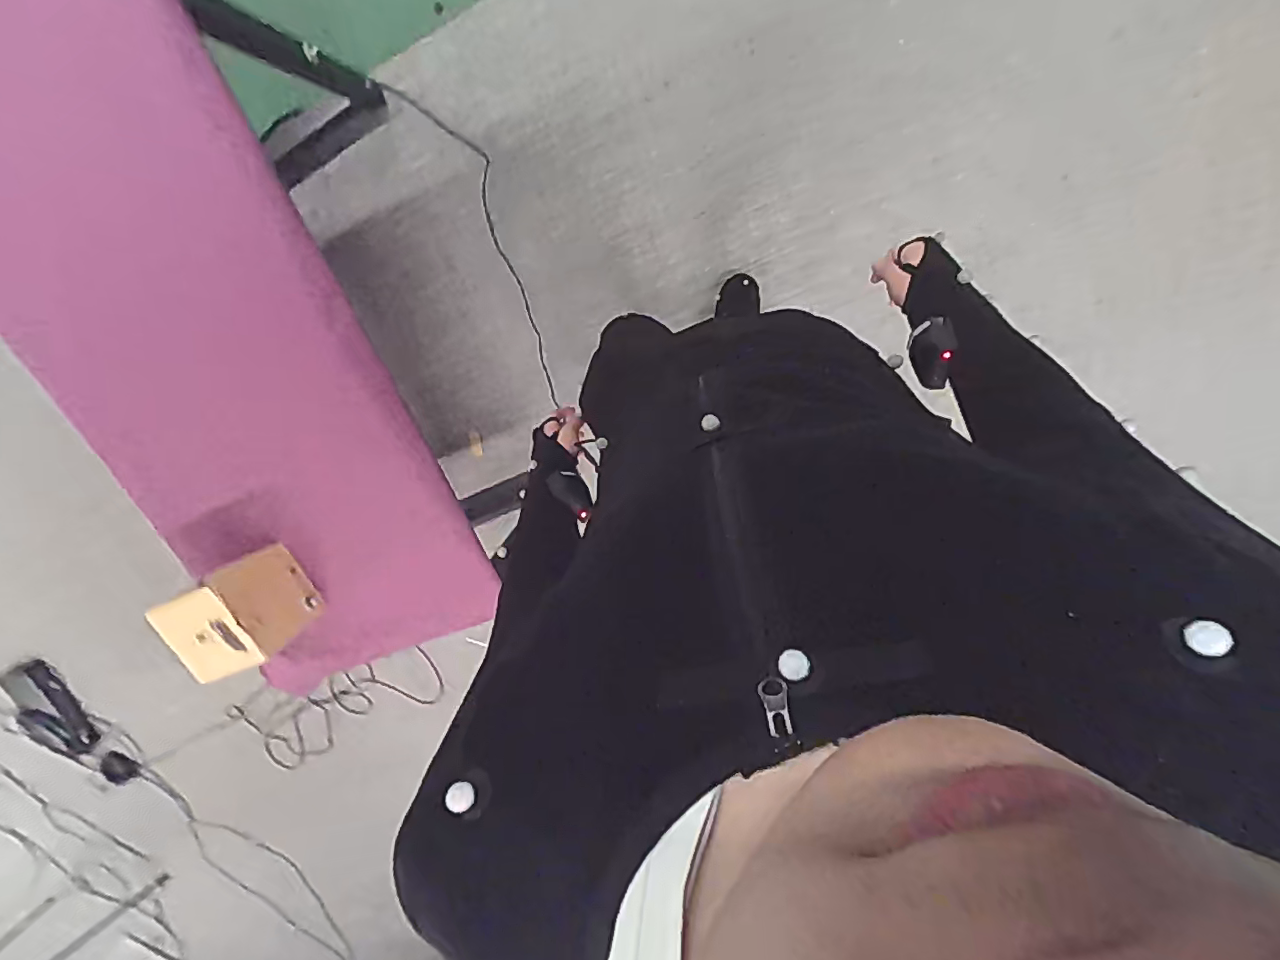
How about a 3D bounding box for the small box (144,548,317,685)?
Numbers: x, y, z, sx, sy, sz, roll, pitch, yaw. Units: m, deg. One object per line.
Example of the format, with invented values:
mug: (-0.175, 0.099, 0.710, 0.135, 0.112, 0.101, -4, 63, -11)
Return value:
small box: (-0.759, 0.252, 1.031, 0.179, 0.176, 0.168, -21, 106, 16)
